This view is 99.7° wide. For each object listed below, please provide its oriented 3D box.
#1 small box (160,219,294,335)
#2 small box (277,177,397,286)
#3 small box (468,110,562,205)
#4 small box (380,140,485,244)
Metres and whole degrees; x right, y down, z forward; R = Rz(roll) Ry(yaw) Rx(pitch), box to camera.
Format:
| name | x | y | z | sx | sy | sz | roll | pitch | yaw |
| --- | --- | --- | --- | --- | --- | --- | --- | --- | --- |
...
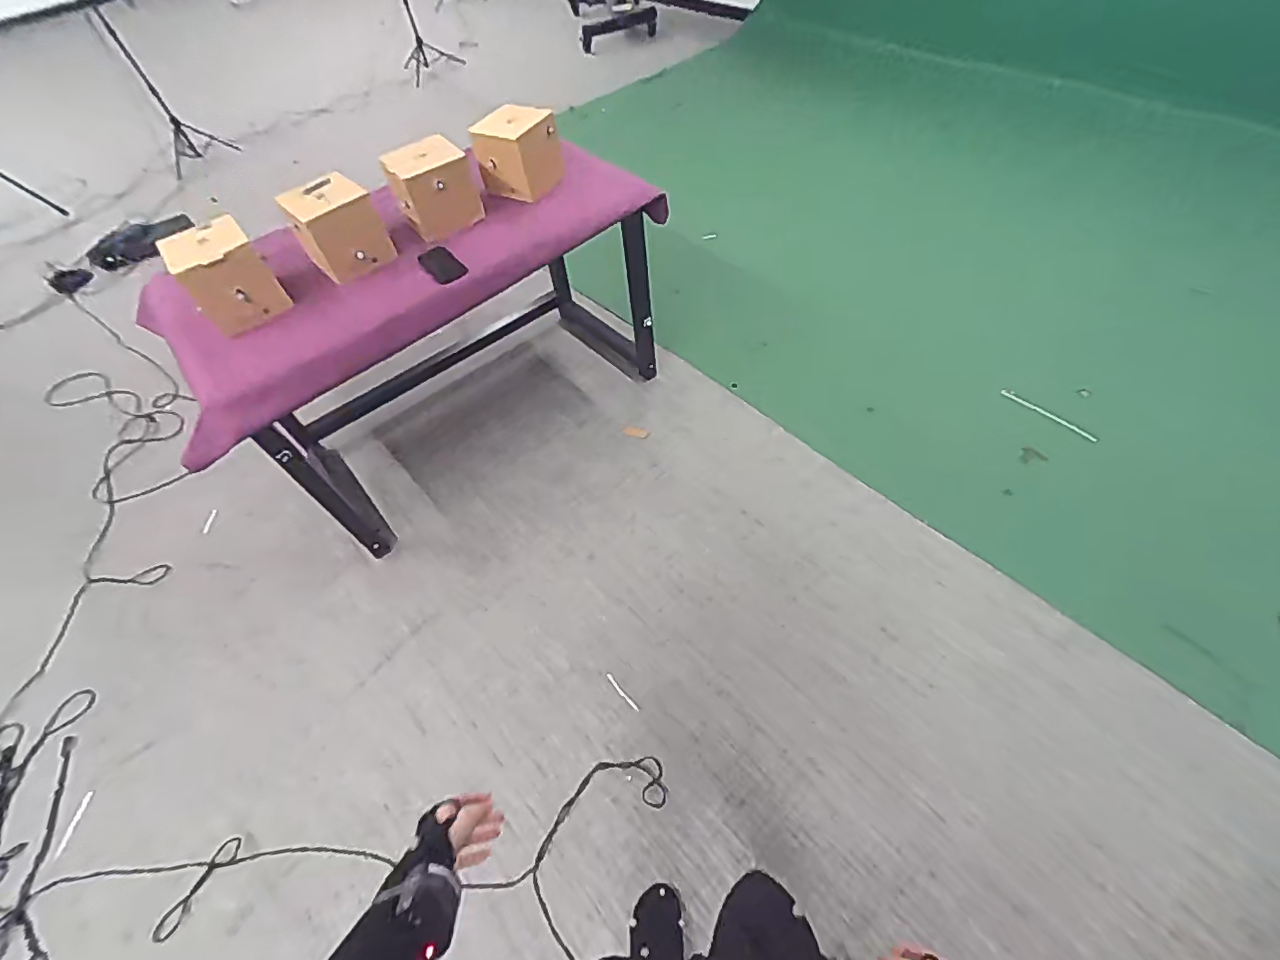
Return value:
| name | x | y | z | sx | sy | sz | roll | pitch | yaw |
| --- | --- | --- | --- | --- | --- | --- | --- | --- | --- |
| small box | -0.948 | -0.463 | 1.254 | 0.168 | 0.176 | 0.179 | -35 | 59 | -19 |
| small box | -0.743 | -0.614 | 1.341 | 0.168 | 0.176 | 0.179 | -40 | 61 | -21 |
| small box | -0.335 | -0.892 | 1.499 | 0.168 | 0.176 | 0.179 | 22 | 59 | 21 |
| small box | -0.538 | -0.752 | 1.421 | 0.179 | 0.176 | 0.168 | -33 | 59 | -17 |
